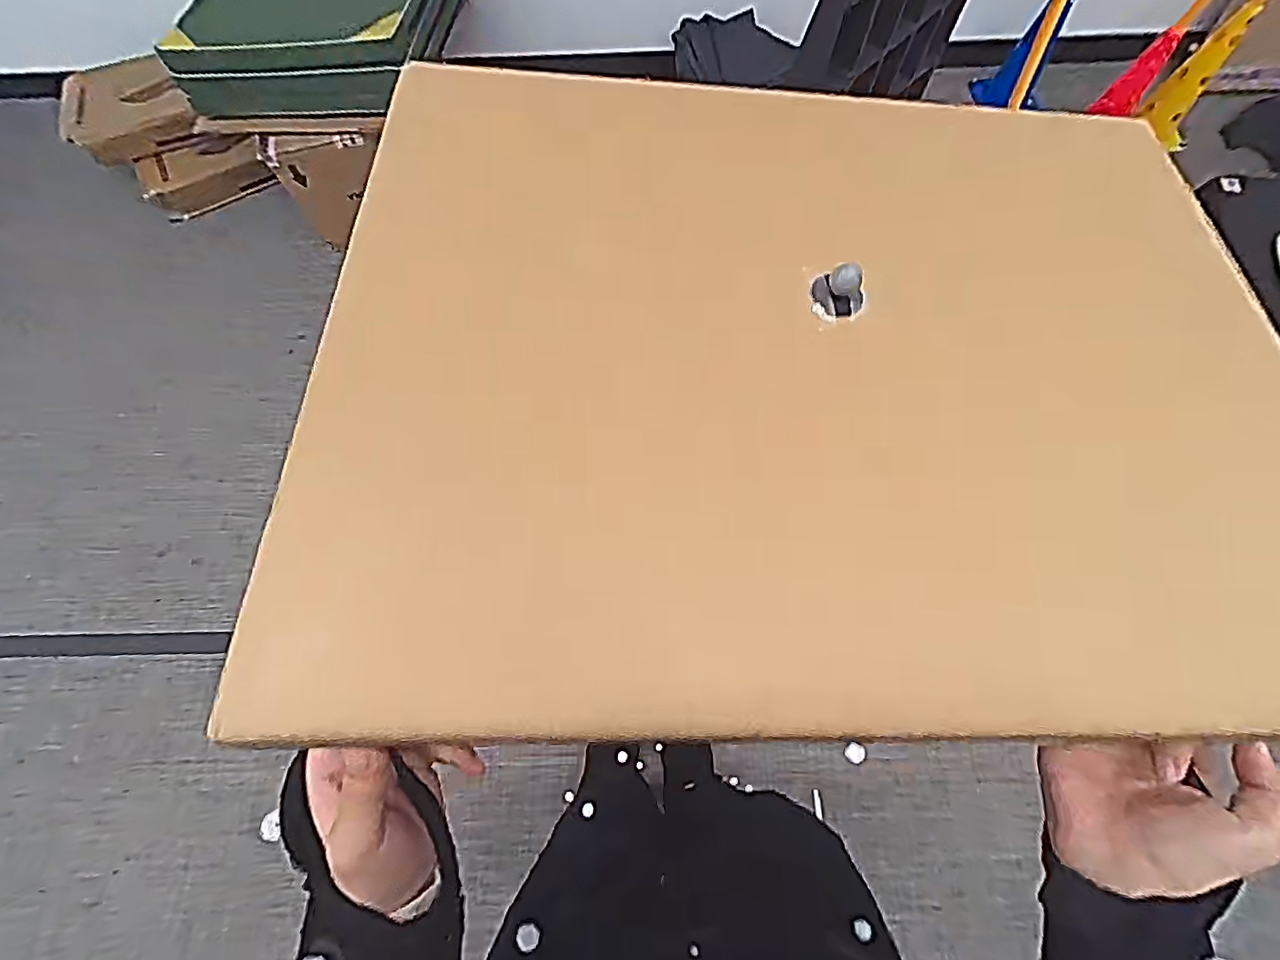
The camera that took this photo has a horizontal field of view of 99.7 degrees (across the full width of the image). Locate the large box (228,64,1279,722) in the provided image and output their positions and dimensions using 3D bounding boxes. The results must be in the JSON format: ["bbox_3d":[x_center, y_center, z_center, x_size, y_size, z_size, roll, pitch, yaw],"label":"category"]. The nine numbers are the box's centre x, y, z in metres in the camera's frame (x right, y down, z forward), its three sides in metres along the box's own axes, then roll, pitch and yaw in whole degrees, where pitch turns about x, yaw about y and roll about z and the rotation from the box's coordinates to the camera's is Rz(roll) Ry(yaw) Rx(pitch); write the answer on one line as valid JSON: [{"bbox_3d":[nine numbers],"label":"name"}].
[{"bbox_3d":[0.066,-0.015,0.358,0.408,0.320,0.320,1,67,-3],"label":"large box"}]
